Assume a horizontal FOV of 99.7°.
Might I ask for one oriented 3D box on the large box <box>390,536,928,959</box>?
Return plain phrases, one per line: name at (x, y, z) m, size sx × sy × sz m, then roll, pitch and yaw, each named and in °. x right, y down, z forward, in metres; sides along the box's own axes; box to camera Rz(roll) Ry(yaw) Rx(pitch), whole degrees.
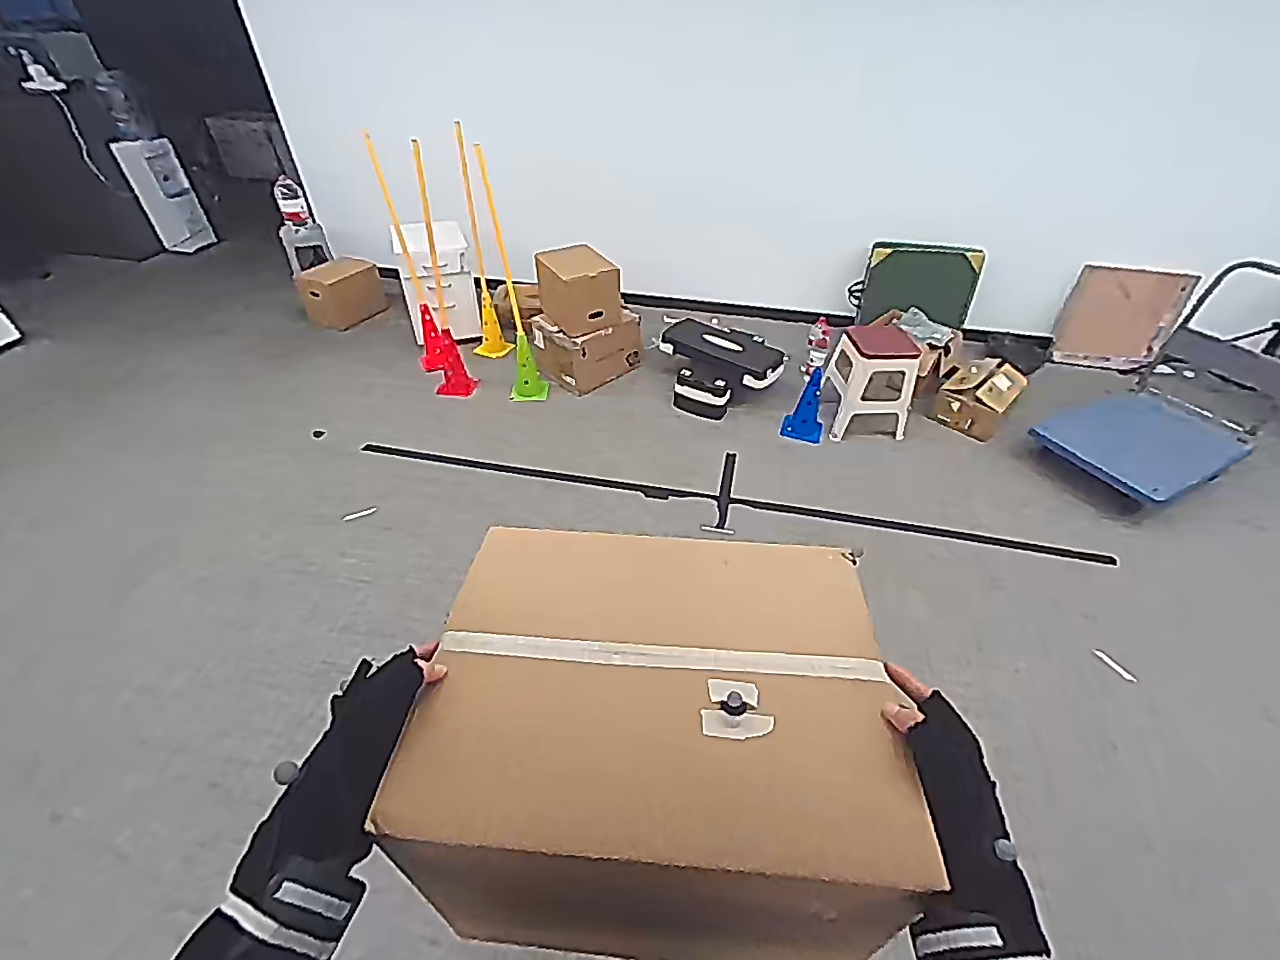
large box at (0.017, 0.286, 0.598) m, size 0.408 × 0.320 × 0.320 m, roll 4°, pitch 39°, yaw 4°
